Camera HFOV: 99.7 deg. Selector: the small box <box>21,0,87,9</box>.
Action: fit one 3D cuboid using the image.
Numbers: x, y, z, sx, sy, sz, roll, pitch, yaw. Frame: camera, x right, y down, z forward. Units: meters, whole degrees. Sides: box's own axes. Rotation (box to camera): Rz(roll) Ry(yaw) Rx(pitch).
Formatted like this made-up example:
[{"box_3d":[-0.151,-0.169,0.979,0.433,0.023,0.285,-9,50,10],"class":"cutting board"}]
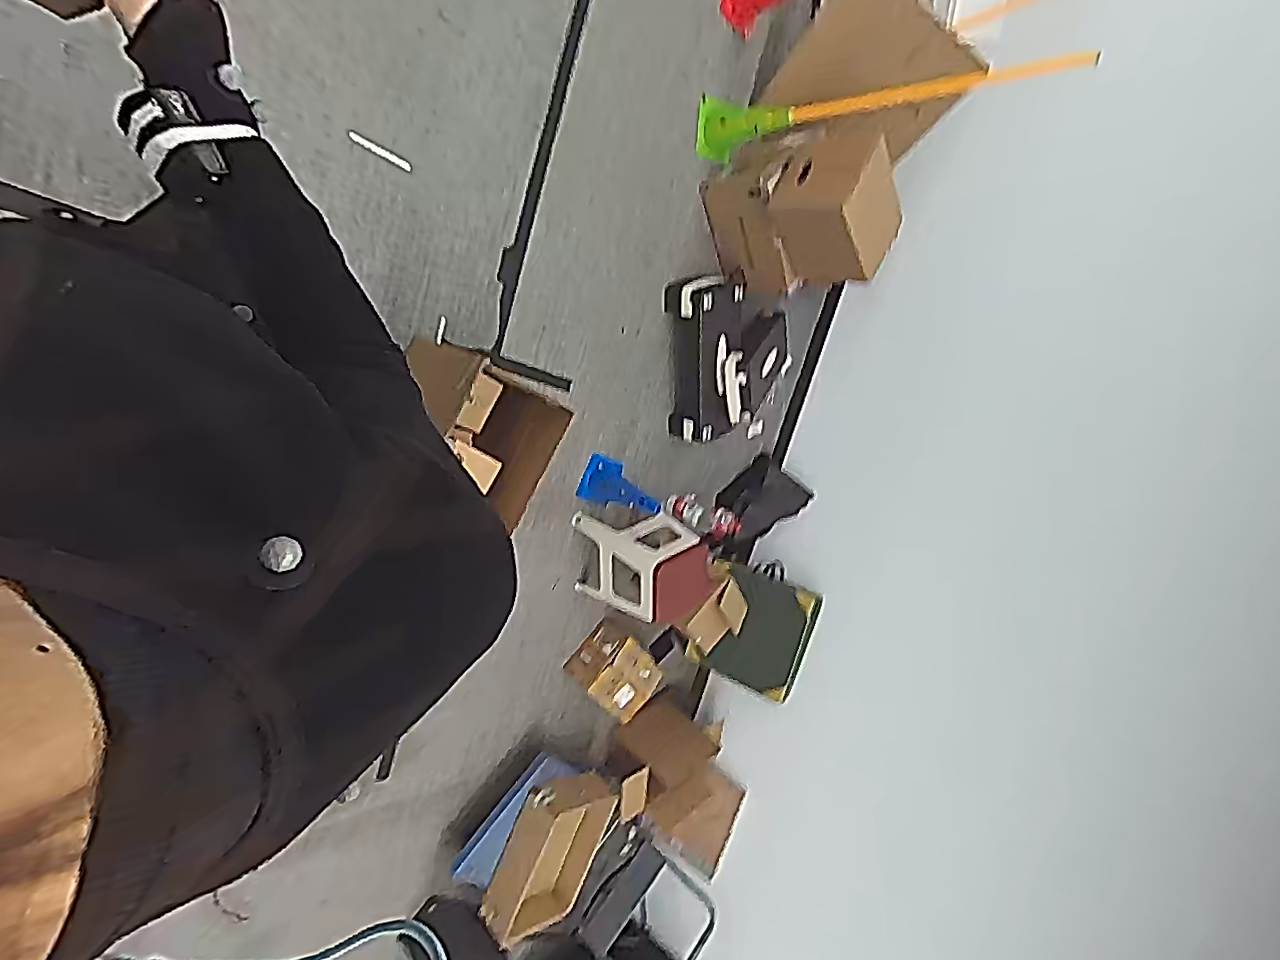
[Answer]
[{"box_3d":[-0.484,-0.471,0.363,0.168,0.176,0.179,6,109,-55],"class":"small box"}]
